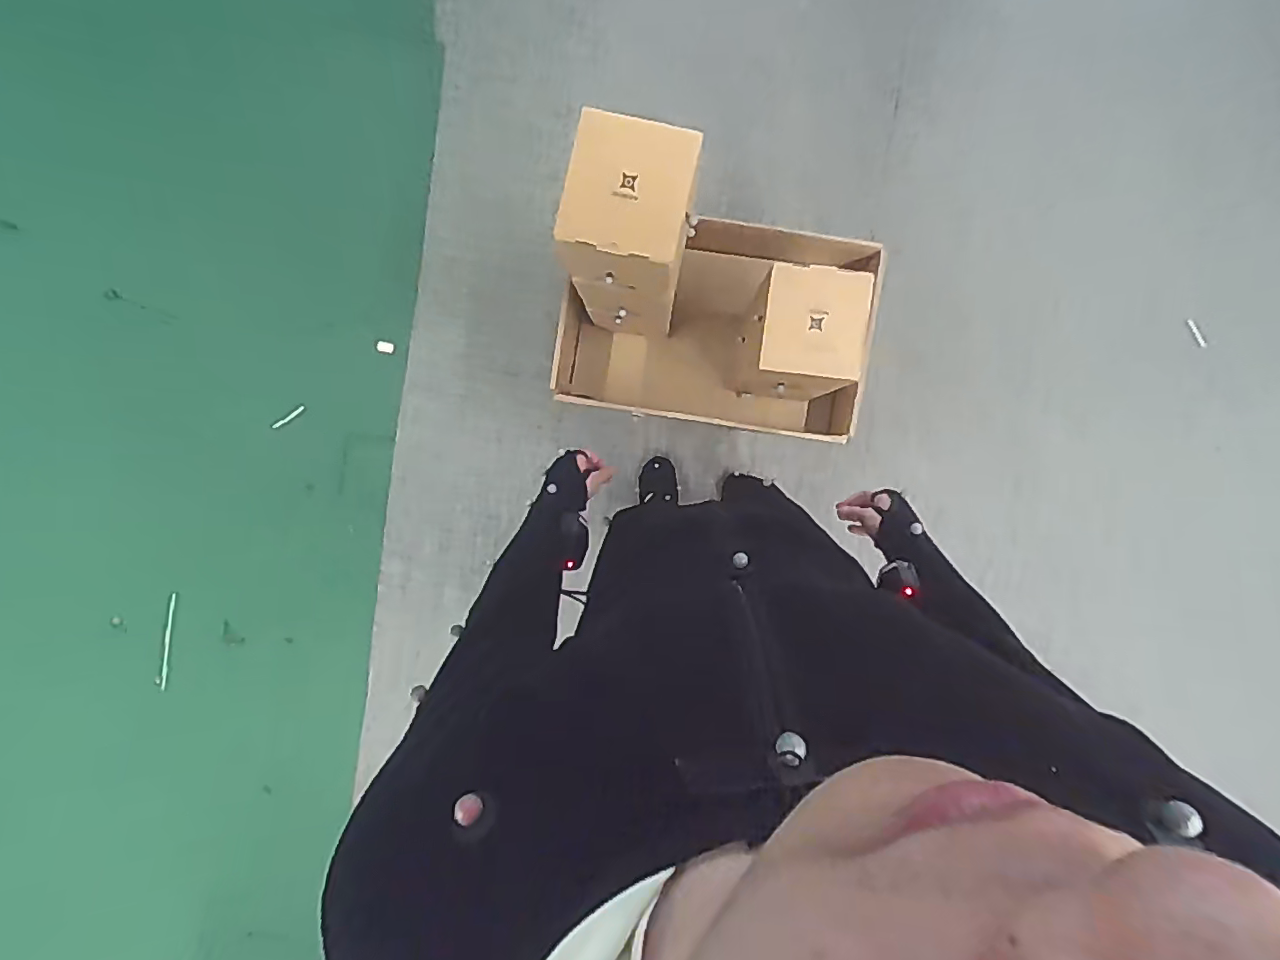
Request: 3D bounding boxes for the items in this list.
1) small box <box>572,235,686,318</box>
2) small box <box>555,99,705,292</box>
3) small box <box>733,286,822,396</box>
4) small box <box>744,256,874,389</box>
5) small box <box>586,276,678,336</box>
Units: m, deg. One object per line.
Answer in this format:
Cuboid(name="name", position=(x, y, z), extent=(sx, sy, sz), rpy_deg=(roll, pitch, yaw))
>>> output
Cuboid(name="small box", position=(-0.011, -0.406, 0.951), extent=(0.168, 0.176, 0.179), rpy_deg=(13, 93, 2))
Cuboid(name="small box", position=(-0.013, -0.399, 0.789), extent=(0.168, 0.176, 0.179), rpy_deg=(14, 94, 1))
Cuboid(name="small box", position=(0.290, -0.275, 1.110), extent=(0.168, 0.176, 0.179), rpy_deg=(8, 92, 1))
Cuboid(name="small box", position=(0.285, -0.266, 0.947), extent=(0.168, 0.176, 0.179), rpy_deg=(8, 93, 2))
Cuboid(name="small box", position=(-0.008, -0.414, 1.115), extent=(0.168, 0.176, 0.179), rpy_deg=(11, 93, 1))
